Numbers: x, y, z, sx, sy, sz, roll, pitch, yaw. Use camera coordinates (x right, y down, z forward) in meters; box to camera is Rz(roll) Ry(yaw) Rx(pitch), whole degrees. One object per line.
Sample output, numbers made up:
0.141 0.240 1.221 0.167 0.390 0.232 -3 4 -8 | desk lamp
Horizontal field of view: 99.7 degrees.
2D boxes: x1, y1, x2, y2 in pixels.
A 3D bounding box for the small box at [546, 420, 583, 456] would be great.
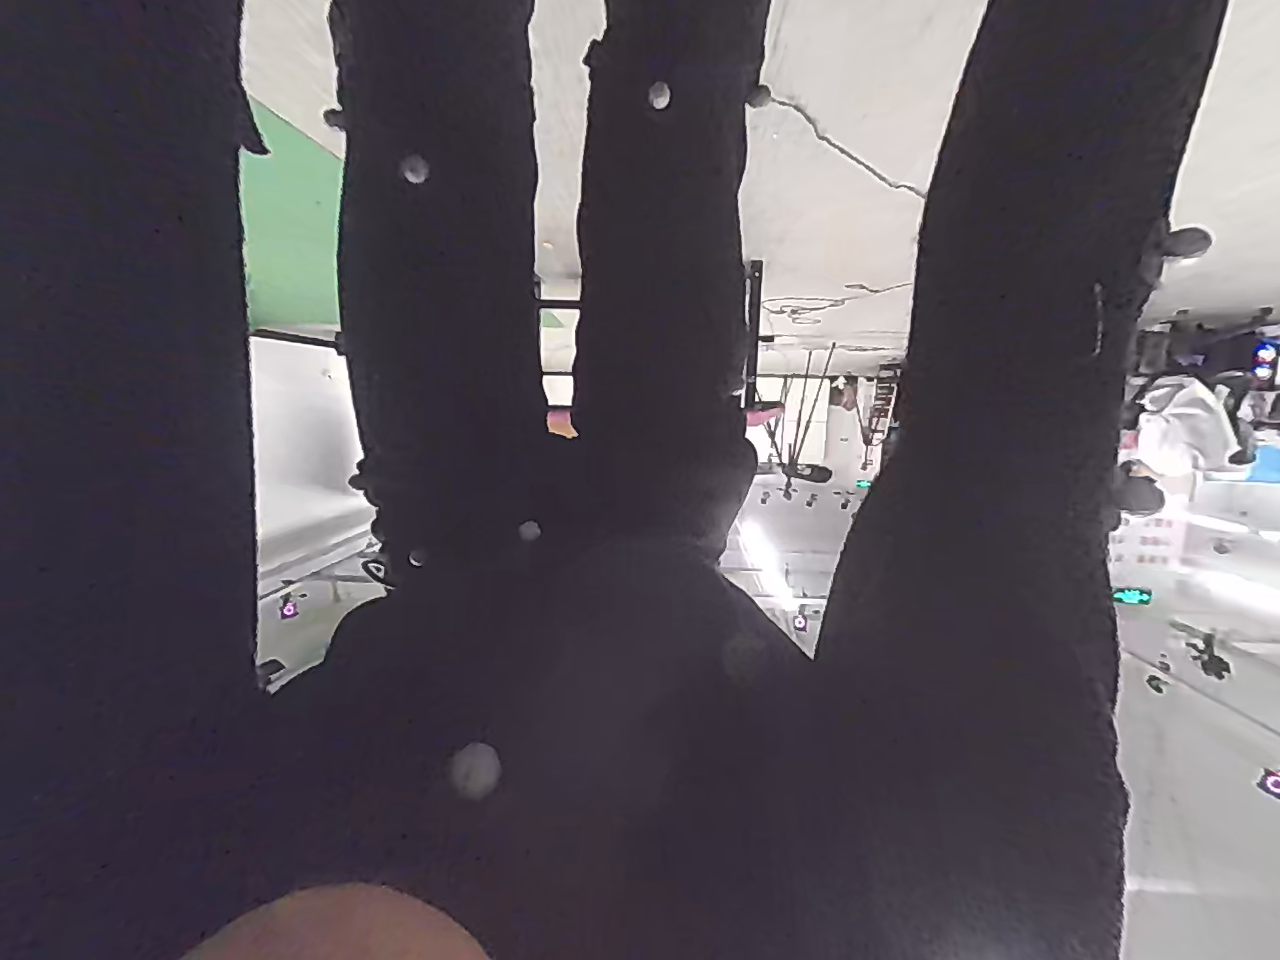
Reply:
-0.372 -0.210 2.651 0.179 0.176 0.168 -1 -171 -7 | small box
